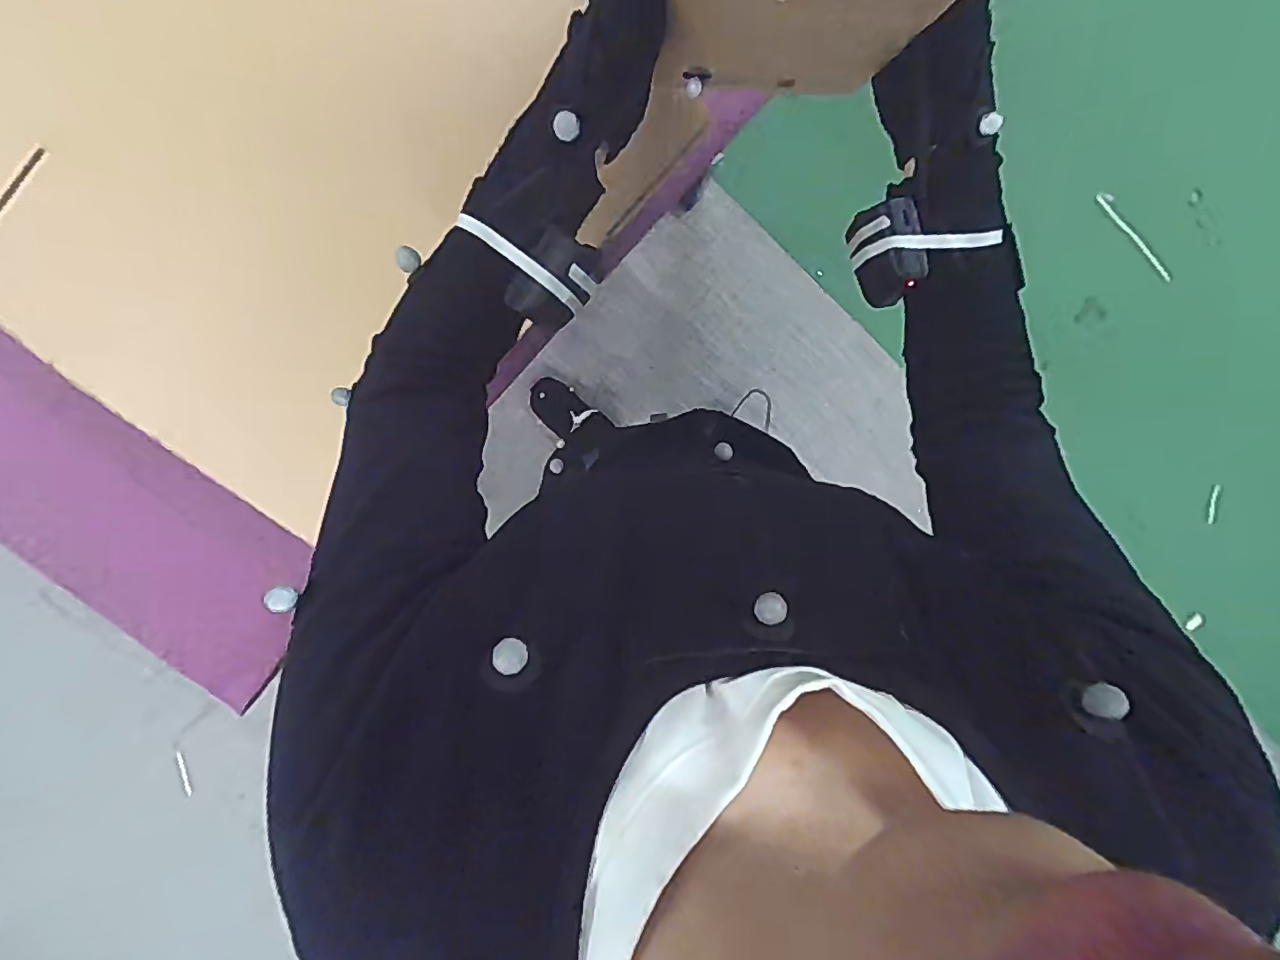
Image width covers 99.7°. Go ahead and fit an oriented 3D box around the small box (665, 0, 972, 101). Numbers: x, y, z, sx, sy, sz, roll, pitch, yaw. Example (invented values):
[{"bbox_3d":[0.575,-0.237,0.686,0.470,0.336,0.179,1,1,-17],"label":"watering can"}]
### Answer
[{"bbox_3d":[0.105,-0.362,0.332,0.168,0.176,0.179,1,106,-3],"label":"small box"}]
